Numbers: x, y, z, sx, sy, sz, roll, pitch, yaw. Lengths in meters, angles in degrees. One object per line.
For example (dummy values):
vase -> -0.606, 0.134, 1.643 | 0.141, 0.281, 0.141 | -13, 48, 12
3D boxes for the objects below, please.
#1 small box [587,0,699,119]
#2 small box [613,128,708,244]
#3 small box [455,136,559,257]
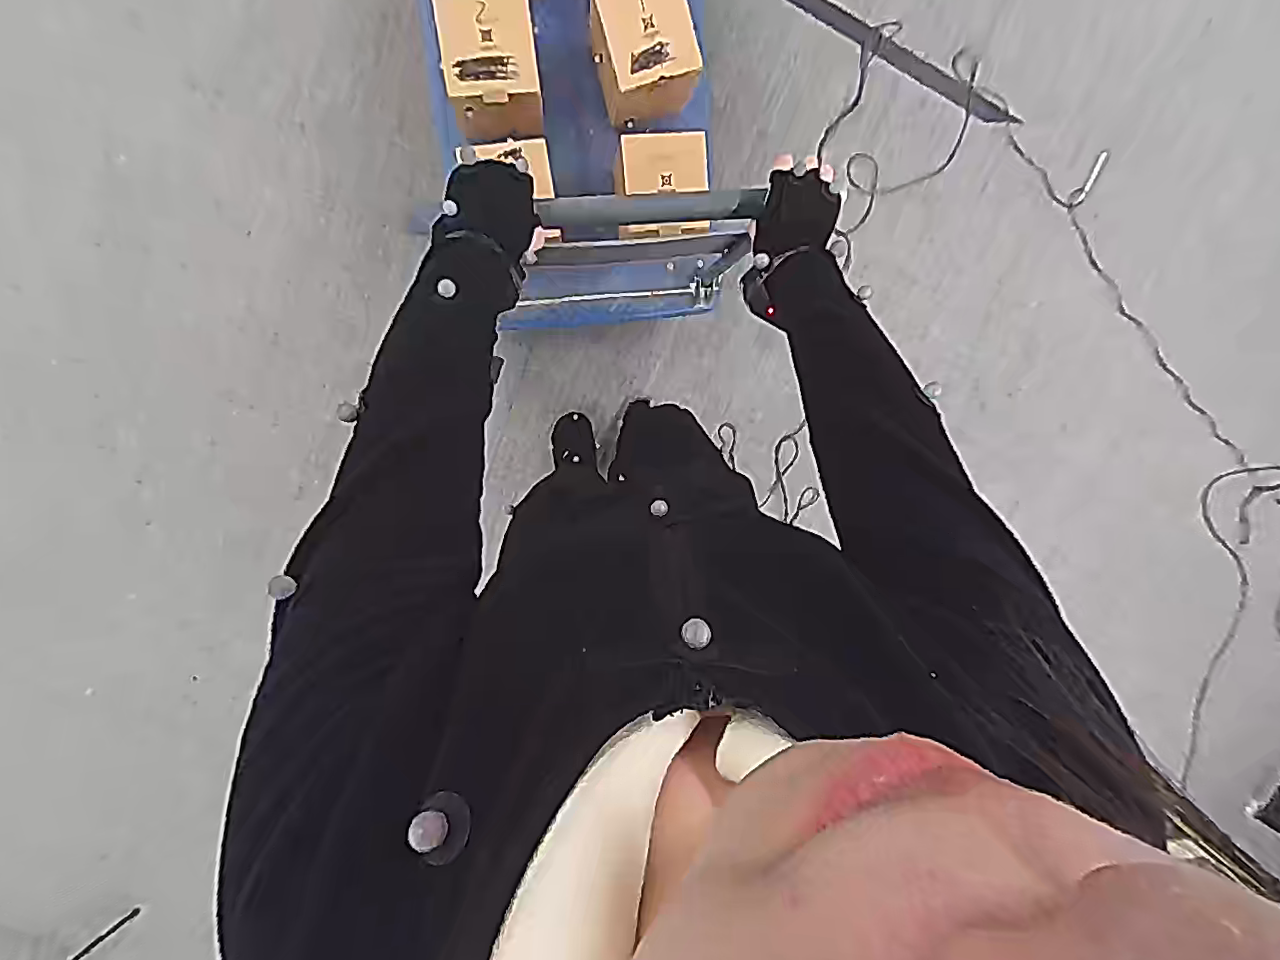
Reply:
small box -> 0.000, -0.844, 1.061 | 0.168, 0.176, 0.179 | -19, 102, -4
small box -> 0.038, -0.596, 1.117 | 0.168, 0.176, 0.179 | -7, 102, -8
small box -> -0.255, -0.554, 1.080 | 0.168, 0.176, 0.179 | -11, 103, -7
